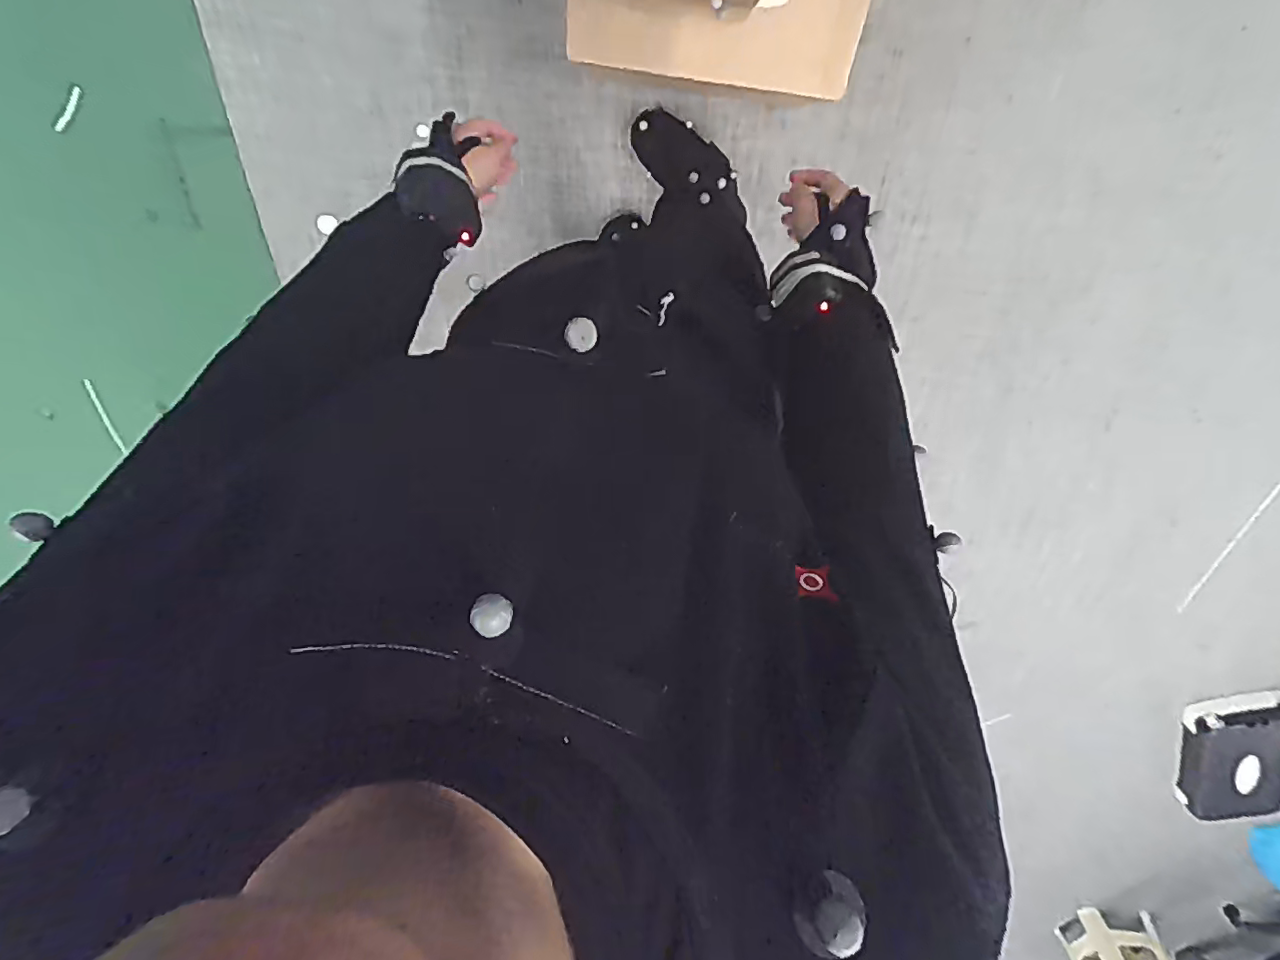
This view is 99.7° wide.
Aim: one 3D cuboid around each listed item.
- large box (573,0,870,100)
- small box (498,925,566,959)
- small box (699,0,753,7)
[{"bbox_3d":[0.121,-0.782,0.811,0.408,0.320,0.320,7,125,-1],"label":"large box"},{"bbox_3d":[-0.298,1.343,1.470,0.179,0.176,0.168,5,125,2],"label":"small box"},{"bbox_3d":[0.050,-0.552,0.479,0.168,0.176,0.179,6,123,-2],"label":"small box"}]
